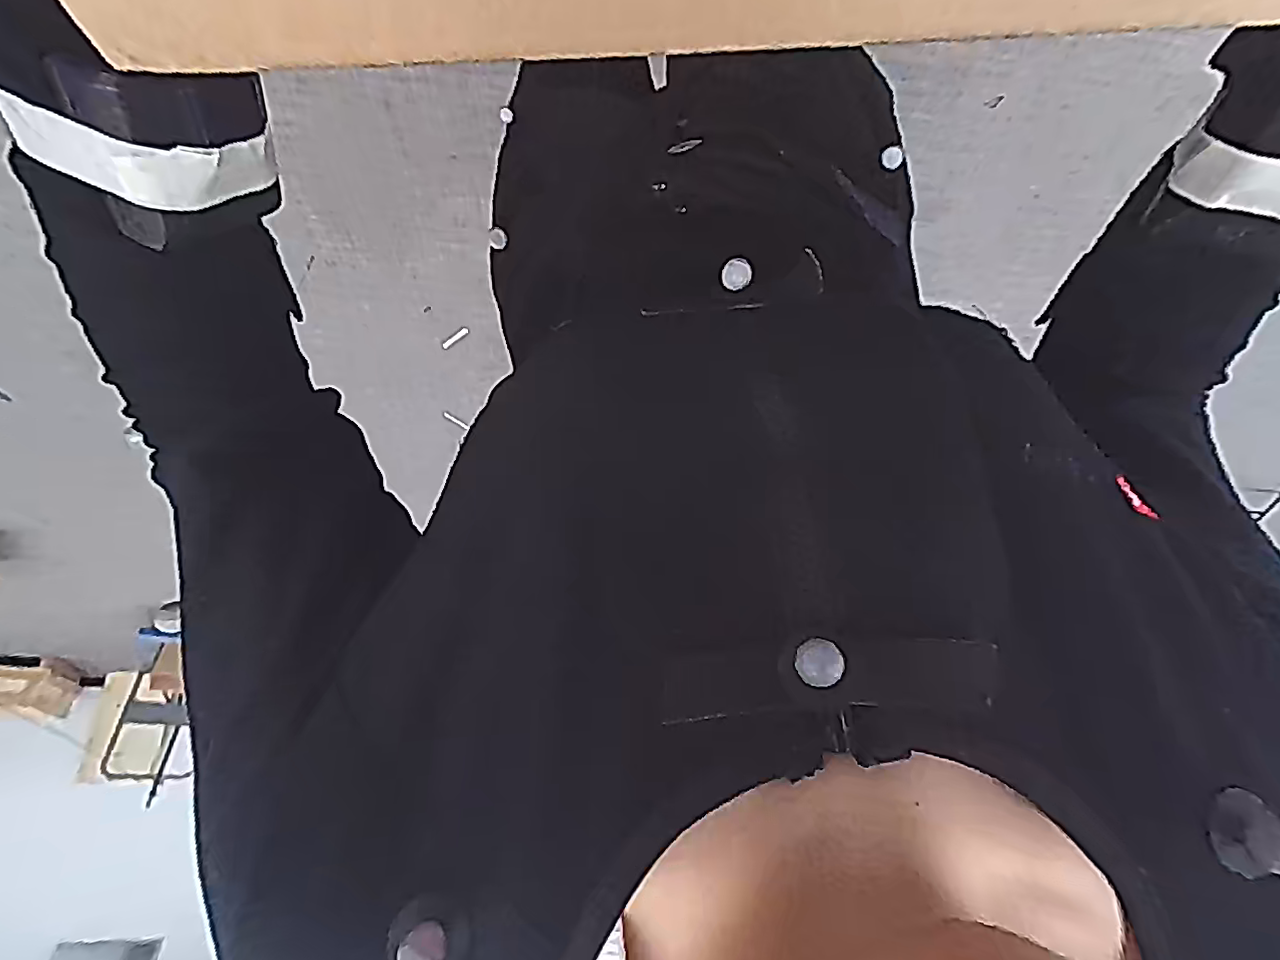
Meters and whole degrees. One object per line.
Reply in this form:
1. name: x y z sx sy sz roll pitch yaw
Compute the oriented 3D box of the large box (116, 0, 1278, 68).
1. large box: 0.031 -0.354 0.132 0.408 0.320 0.320 -4 145 -2
